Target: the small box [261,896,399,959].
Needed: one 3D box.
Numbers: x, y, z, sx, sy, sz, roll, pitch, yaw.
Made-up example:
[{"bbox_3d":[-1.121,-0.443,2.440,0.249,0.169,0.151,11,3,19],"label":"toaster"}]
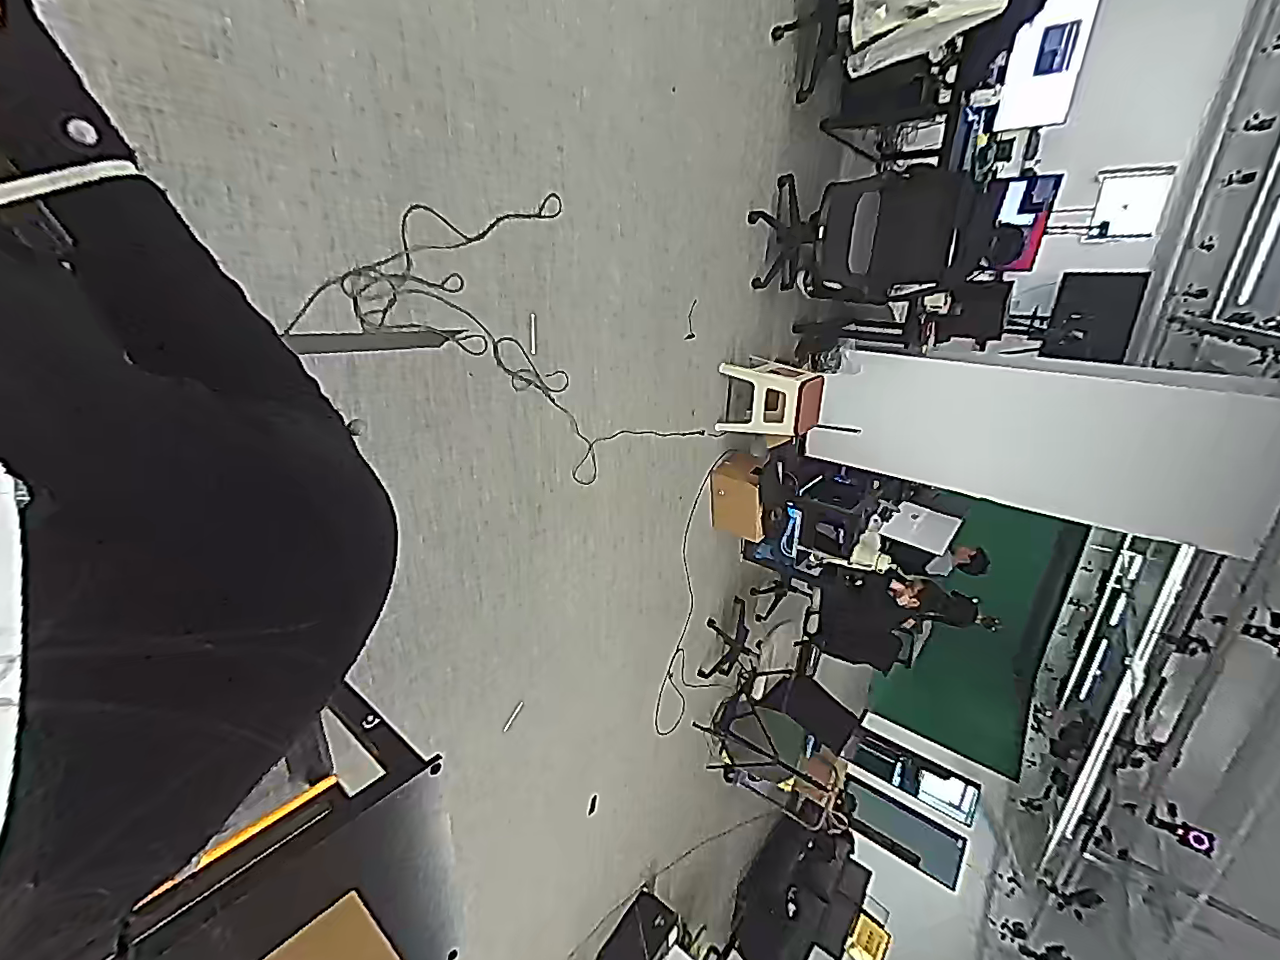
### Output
[{"bbox_3d":[-0.520,0.857,0.897,0.179,0.176,0.168,-20,120,-48],"label":"small box"}]
